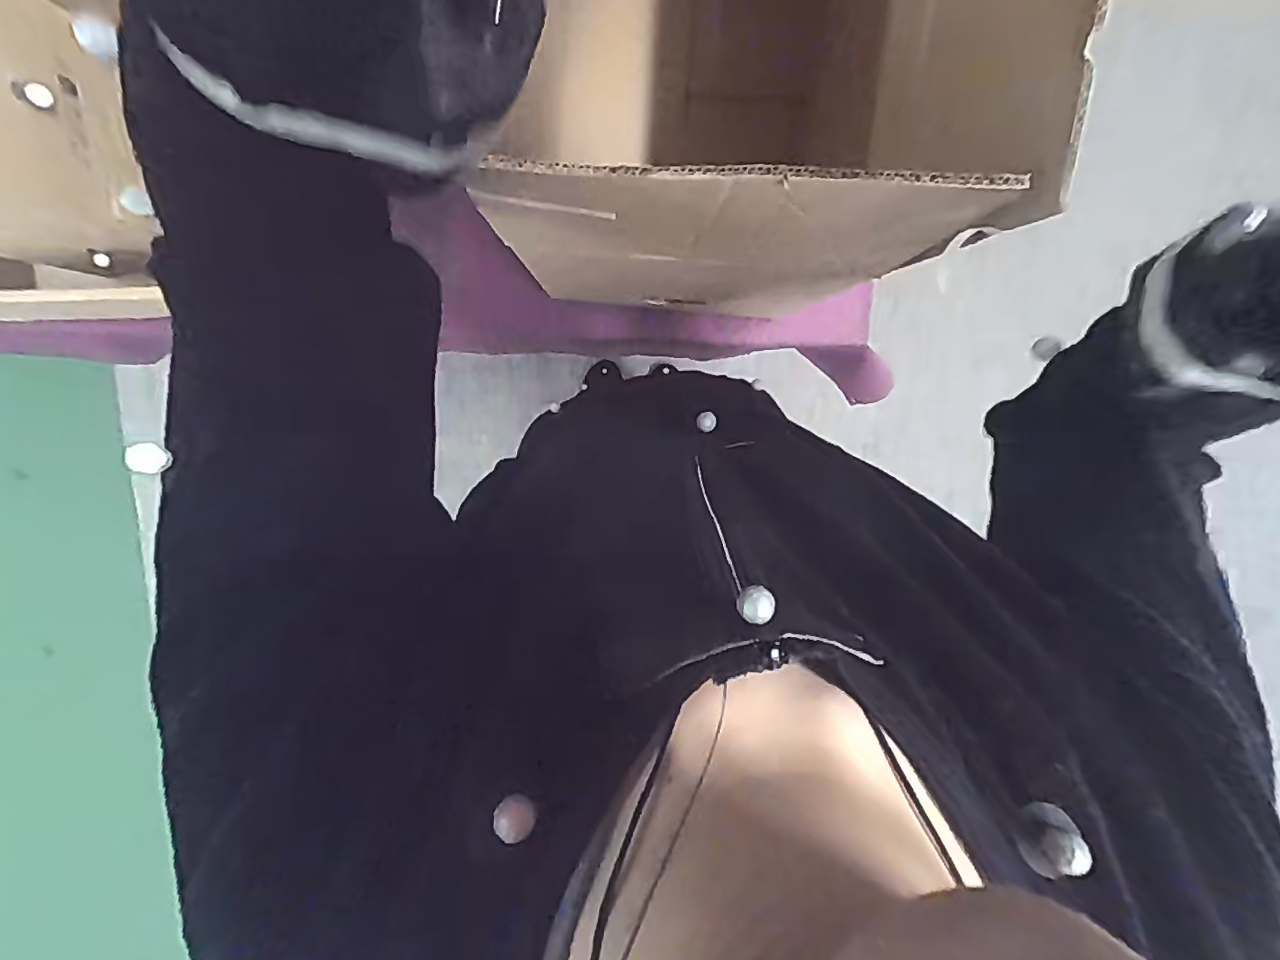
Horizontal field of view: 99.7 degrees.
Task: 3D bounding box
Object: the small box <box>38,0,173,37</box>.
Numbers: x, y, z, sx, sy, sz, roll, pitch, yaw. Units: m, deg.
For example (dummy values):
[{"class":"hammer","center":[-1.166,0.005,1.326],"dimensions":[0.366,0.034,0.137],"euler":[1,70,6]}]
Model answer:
[{"class":"small box","center":[-0.587,-0.547,0.498],"dimensions":[0.168,0.176,0.179],"euler":[-4,101,-1]}]
